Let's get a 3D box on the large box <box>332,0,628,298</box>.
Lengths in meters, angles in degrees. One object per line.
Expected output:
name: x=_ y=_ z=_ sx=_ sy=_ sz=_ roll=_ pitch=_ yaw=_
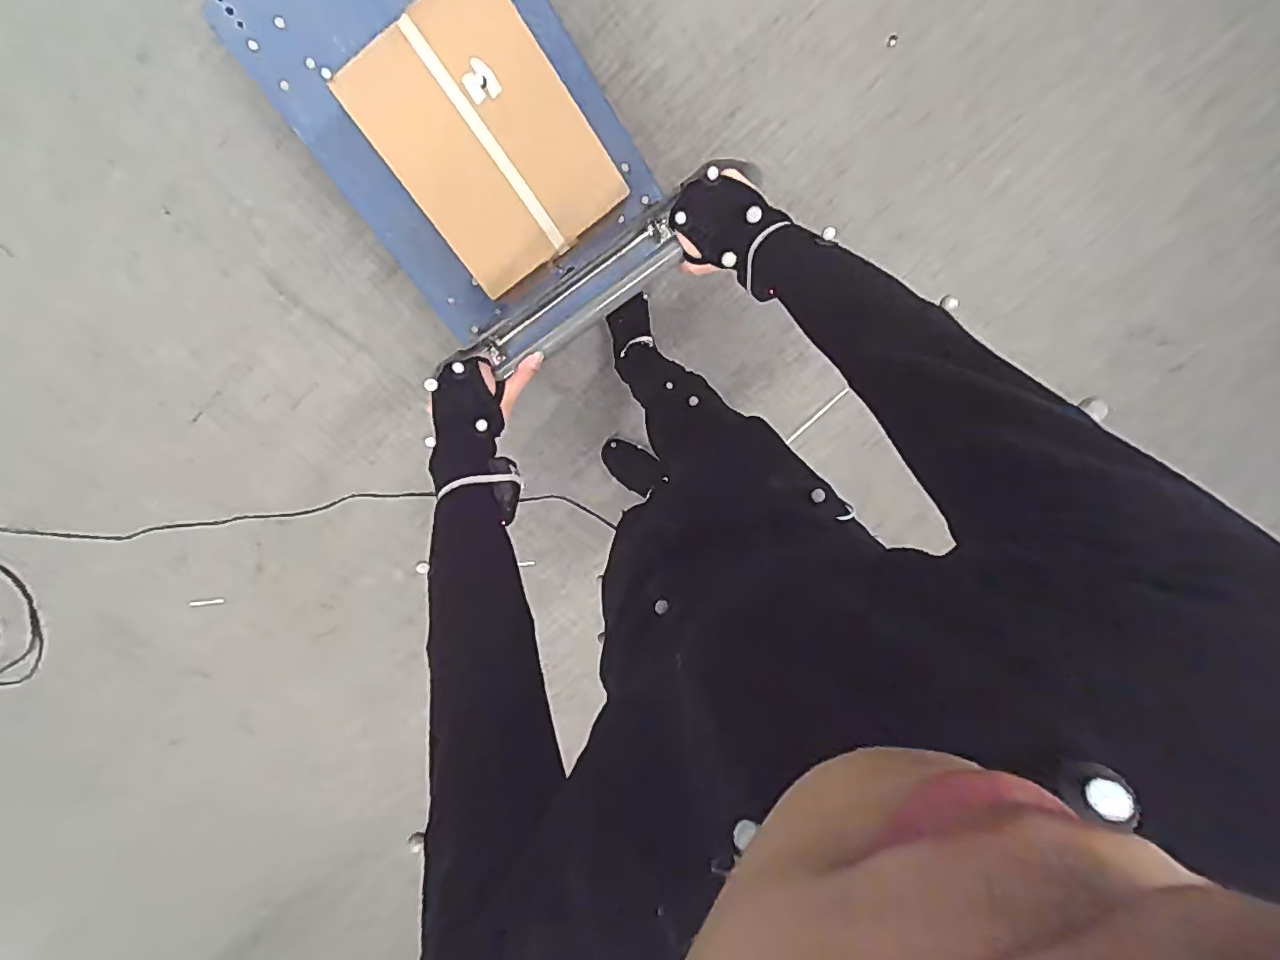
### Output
large box: x=-0.267 y=-0.611 z=1.041 sx=0.320 sy=0.320 sz=0.408 roll=-36 pitch=107 yaw=5
